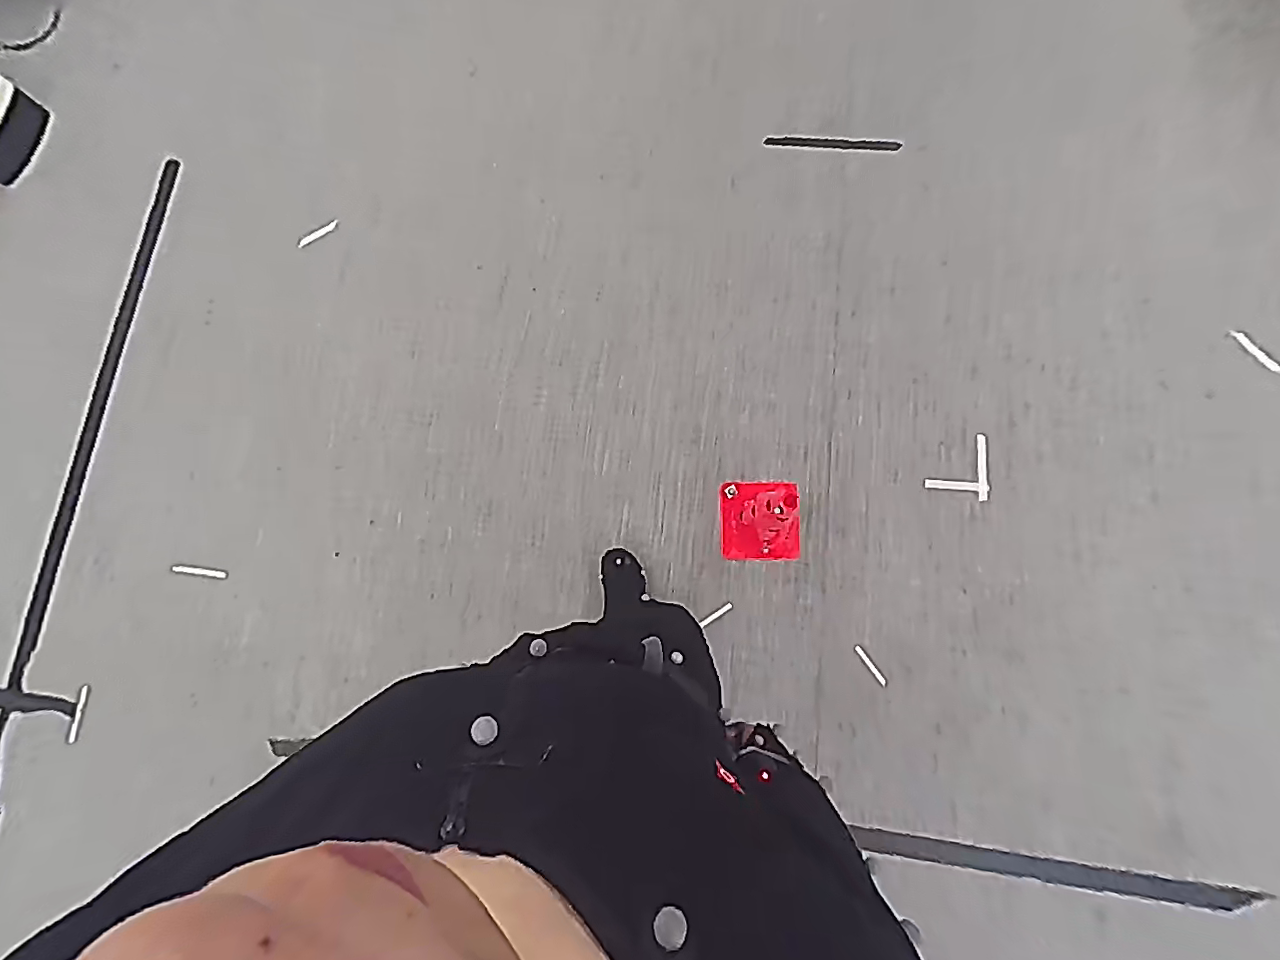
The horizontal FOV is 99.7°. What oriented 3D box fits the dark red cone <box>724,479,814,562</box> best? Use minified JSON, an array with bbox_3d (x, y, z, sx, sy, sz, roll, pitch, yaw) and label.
[{"bbox_3d":[0.301,0.073,1.173,0.202,0.394,0.201,-1,81,3],"label":"dark red cone"}]
